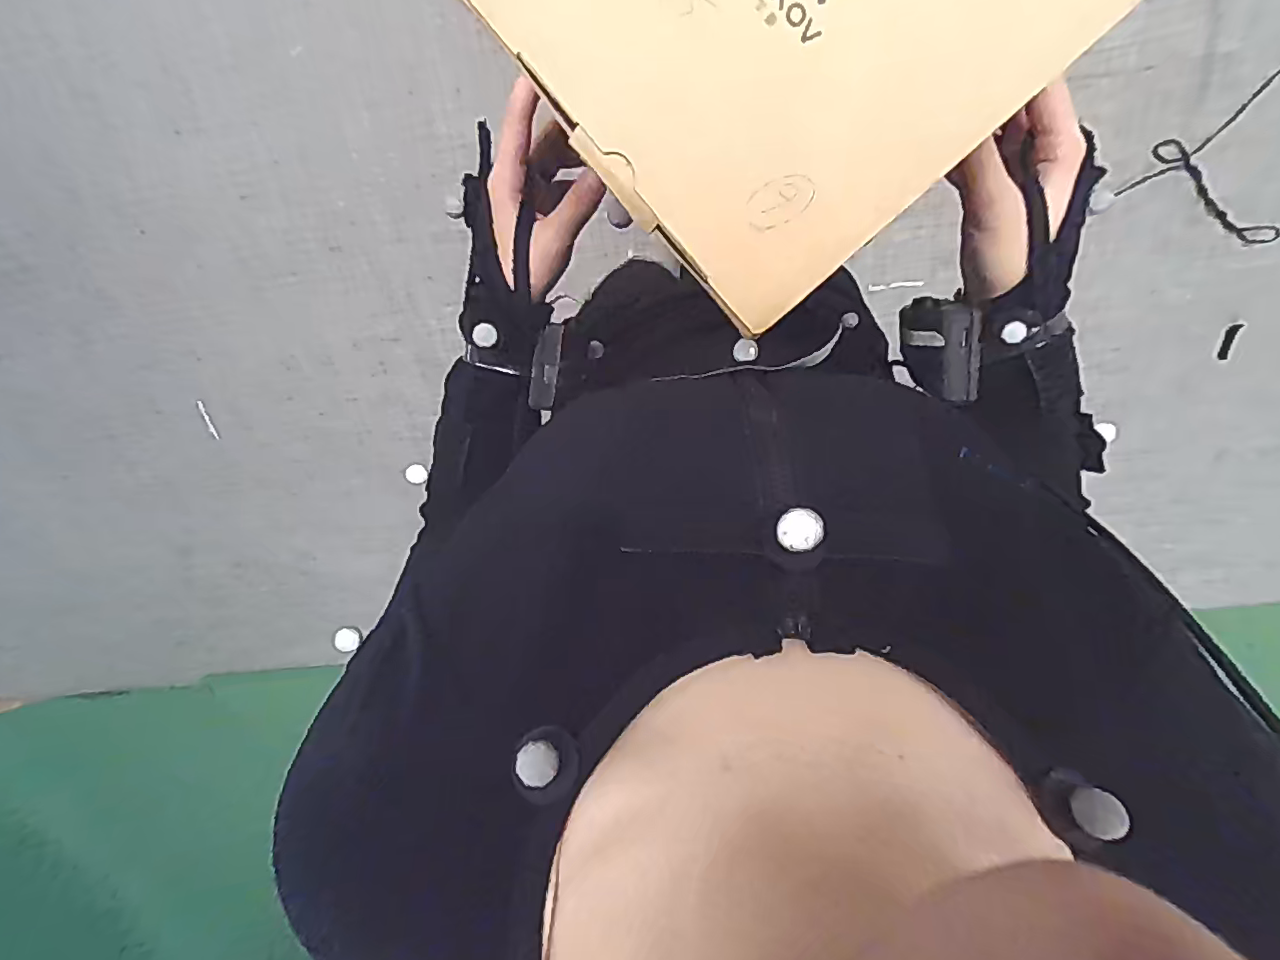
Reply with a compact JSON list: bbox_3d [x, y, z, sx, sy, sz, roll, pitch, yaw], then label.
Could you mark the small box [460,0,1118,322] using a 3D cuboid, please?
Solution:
[{"bbox_3d":[0.057,-0.200,0.249,0.179,0.176,0.168,-40,104,19],"label":"small box"}]
